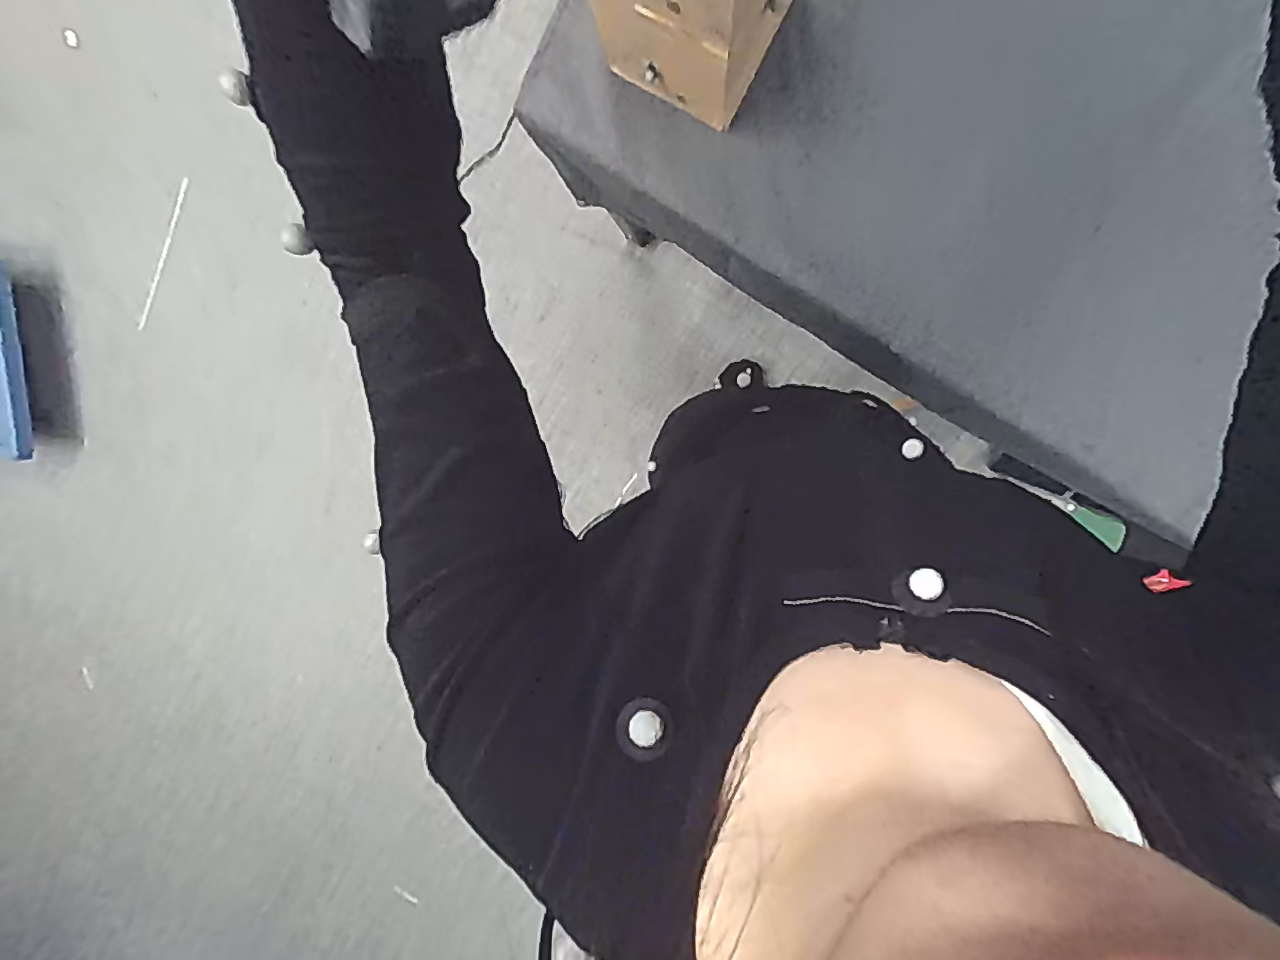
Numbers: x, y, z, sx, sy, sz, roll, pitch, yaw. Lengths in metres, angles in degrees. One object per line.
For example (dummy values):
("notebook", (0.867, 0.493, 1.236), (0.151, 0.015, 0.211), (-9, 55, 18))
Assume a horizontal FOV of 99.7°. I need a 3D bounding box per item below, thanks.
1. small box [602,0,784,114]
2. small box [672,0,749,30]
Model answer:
("small box", (0.064, -0.537, 0.564), (0.168, 0.176, 0.179), (29, 105, 0))
("small box", (0.045, -0.503, 0.406), (0.168, 0.176, 0.179), (30, 104, -1))
